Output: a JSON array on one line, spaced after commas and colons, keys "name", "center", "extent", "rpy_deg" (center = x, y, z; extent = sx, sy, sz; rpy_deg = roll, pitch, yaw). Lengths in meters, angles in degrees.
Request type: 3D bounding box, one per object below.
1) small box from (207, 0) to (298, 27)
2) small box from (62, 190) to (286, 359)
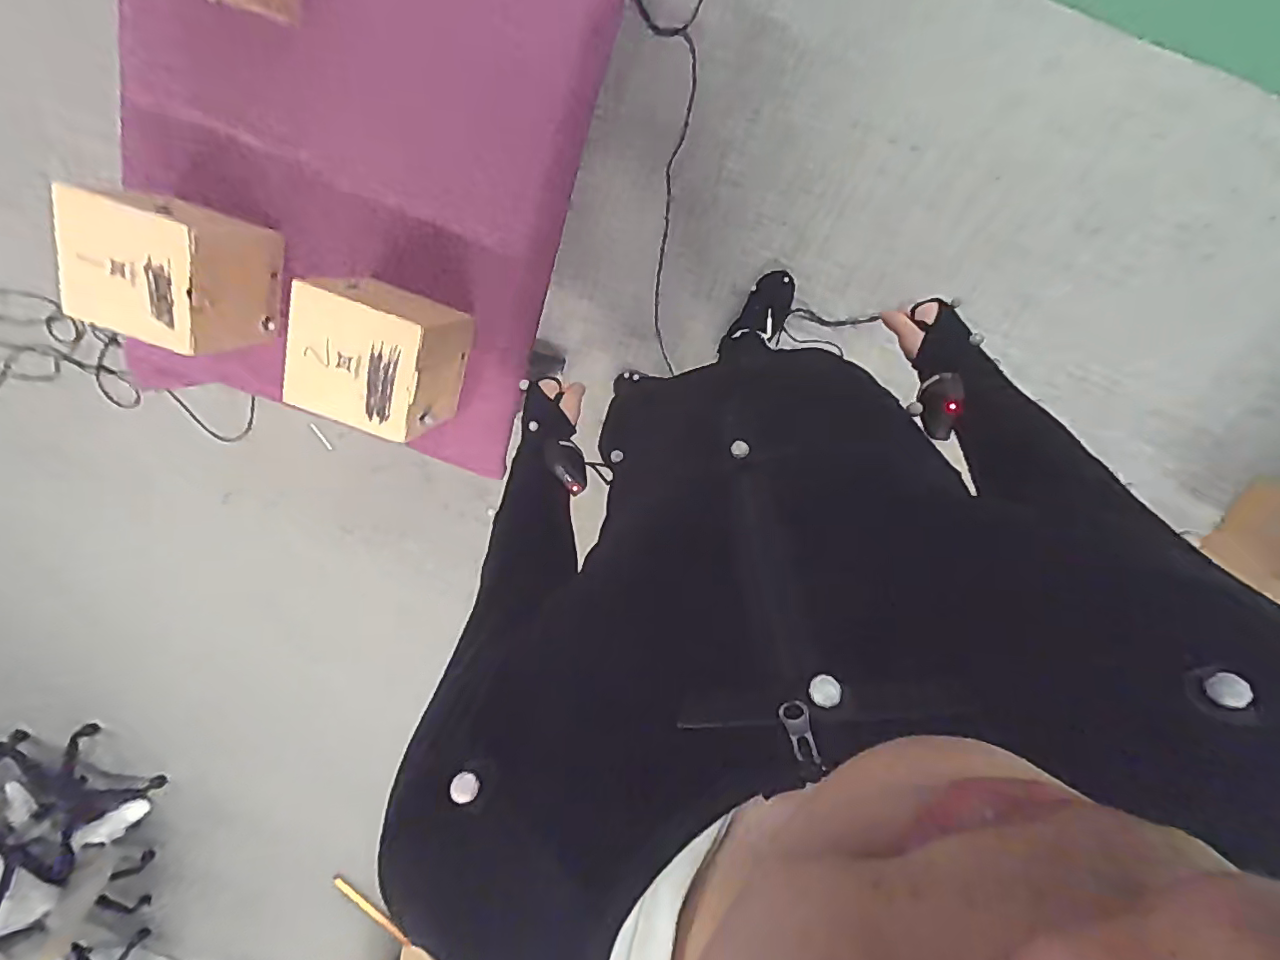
[{"name": "small box", "center": [-0.510, -0.659, 0.610], "extent": [0.179, 0.176, 0.168], "rpy_deg": [20, 111, -2]}, {"name": "small box", "center": [-0.641, -0.288, 0.766], "extent": [0.179, 0.176, 0.168], "rpy_deg": [18, 111, -1]}]
